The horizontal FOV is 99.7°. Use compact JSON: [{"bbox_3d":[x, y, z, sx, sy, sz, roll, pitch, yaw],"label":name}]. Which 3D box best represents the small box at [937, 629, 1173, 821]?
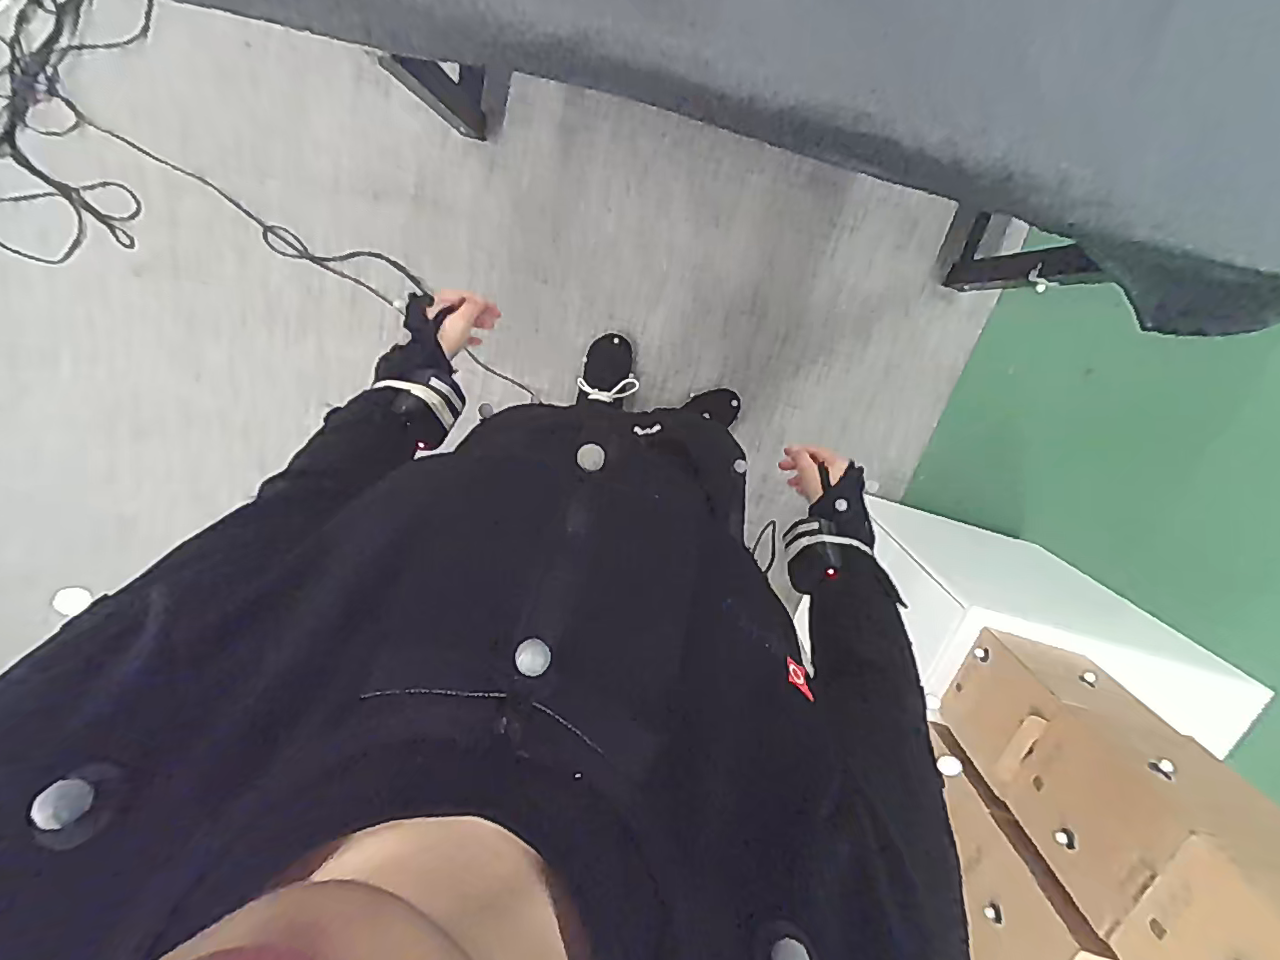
[{"bbox_3d":[0.574,0.341,0.779,0.179,0.176,0.168,16,108,-5],"label":"small box"}]
